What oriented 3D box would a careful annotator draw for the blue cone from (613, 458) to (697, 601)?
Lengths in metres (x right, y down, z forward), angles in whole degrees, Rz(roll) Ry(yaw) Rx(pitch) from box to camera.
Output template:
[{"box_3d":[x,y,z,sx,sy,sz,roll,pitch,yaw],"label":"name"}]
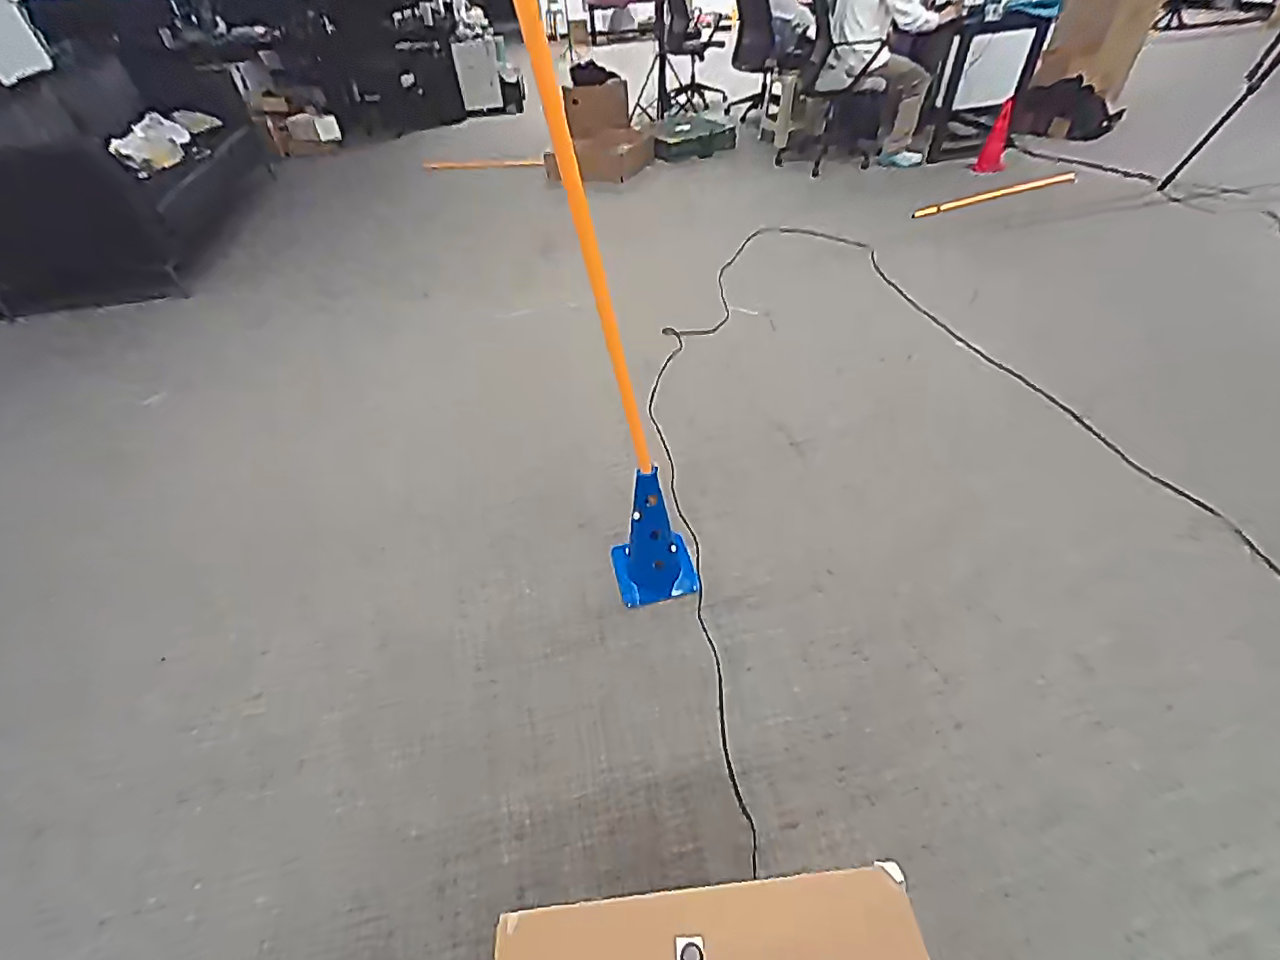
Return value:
[{"box_3d":[0.025,0.104,1.281,0.193,0.380,0.192,-15,45,-8],"label":"blue cone"}]
